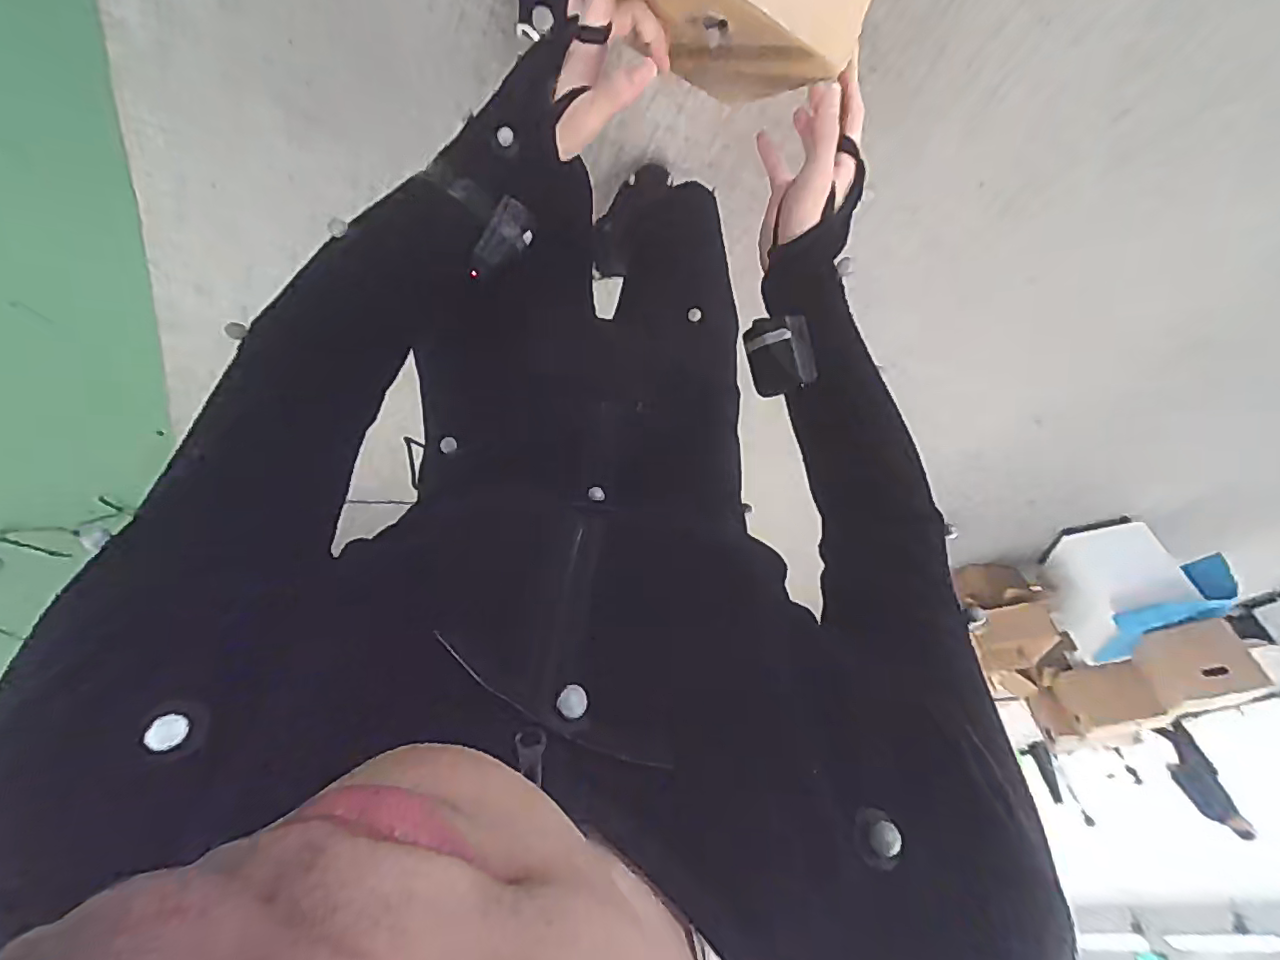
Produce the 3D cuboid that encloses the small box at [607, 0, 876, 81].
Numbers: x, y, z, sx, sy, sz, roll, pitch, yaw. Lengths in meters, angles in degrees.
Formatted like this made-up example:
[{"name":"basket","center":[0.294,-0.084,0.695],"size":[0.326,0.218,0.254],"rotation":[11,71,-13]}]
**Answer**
[{"name":"small box","center":[0.085,-0.445,0.416],"size":[0.179,0.176,0.168],"rotation":[9,111,-30]}]
